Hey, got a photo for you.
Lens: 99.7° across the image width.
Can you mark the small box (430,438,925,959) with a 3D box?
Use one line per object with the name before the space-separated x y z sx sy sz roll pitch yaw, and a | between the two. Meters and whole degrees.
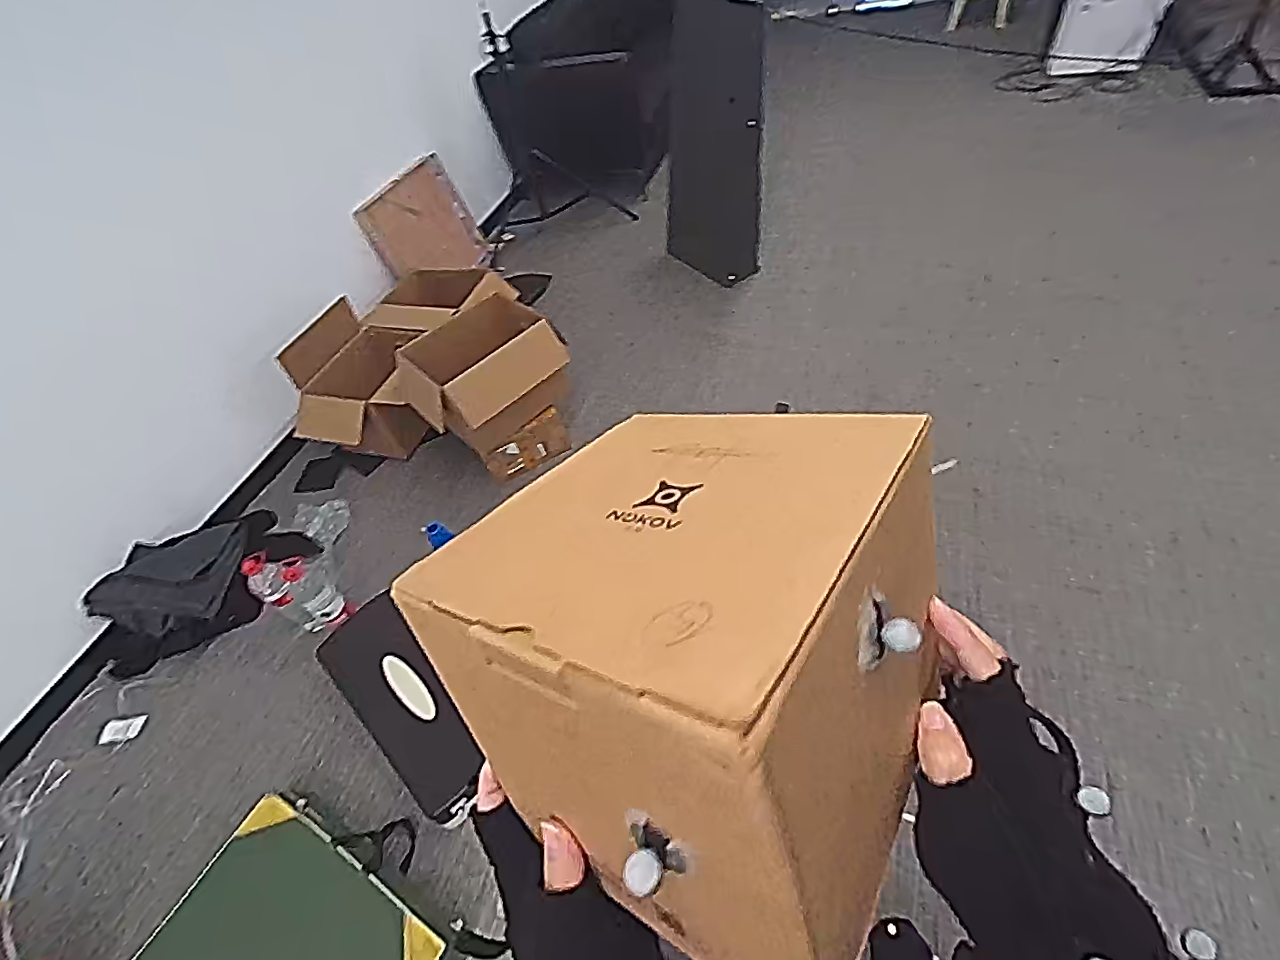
small box | 0.038 0.091 0.276 0.168 0.176 0.179 6 32 39
